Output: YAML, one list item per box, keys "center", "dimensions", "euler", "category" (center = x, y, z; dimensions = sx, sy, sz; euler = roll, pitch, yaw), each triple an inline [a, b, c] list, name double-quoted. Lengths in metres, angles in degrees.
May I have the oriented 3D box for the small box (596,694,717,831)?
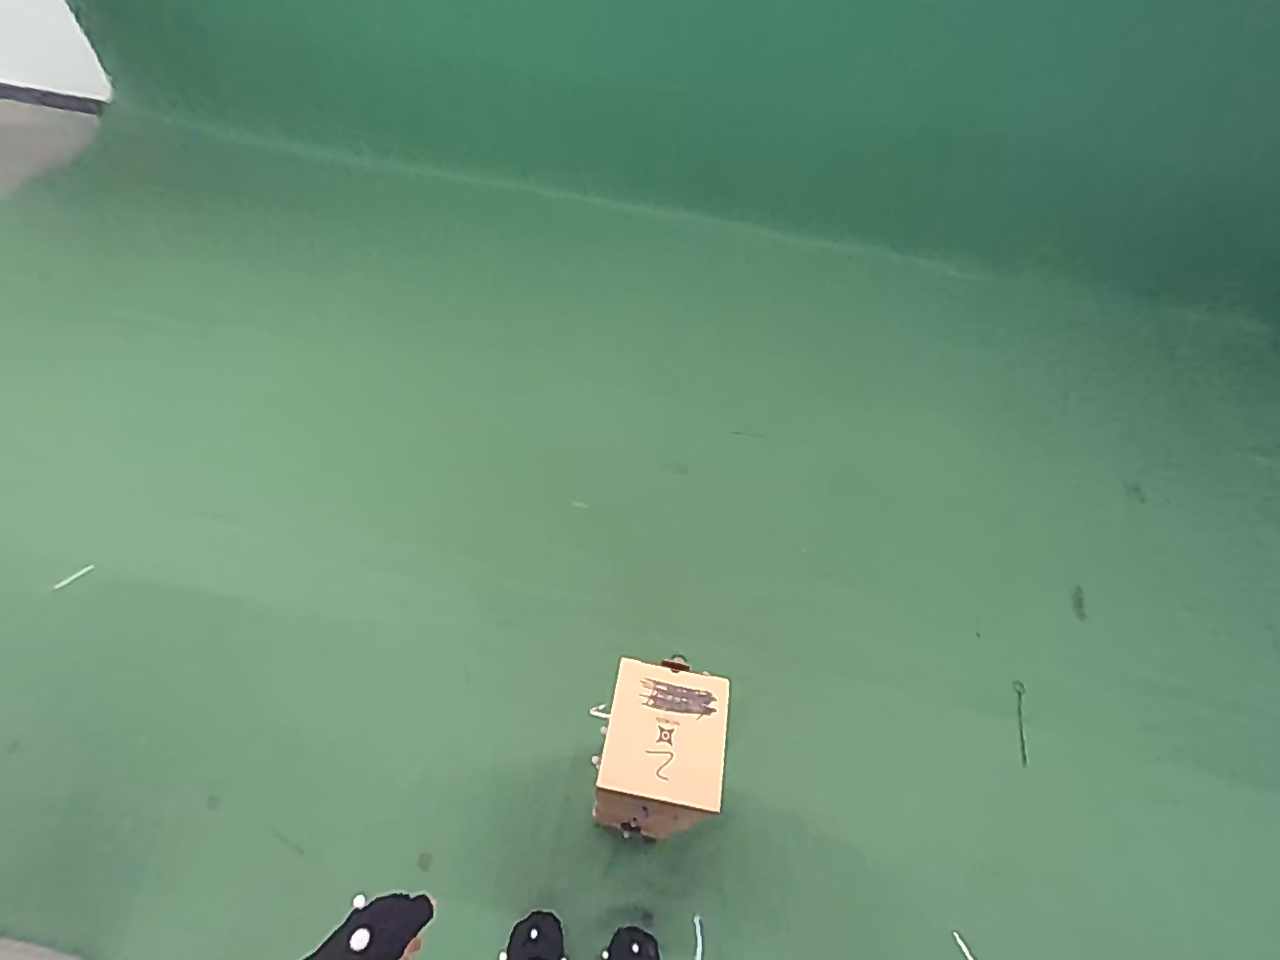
- center: [0.025, 0.497, 0.944]
  dimensions: [0.179, 0.176, 0.168]
  euler: [12, 53, 3]
  category: "small box"

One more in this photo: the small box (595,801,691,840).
- center: [0.017, 0.594, 1.071]
  dimensions: [0.179, 0.176, 0.168]
  euler: [14, 52, 5]
  category: "small box"

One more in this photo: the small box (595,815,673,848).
- center: [-0.002, 0.694, 1.203]
  dimensions: [0.168, 0.176, 0.179]
  euler: [12, 54, 4]
  category: "small box"
